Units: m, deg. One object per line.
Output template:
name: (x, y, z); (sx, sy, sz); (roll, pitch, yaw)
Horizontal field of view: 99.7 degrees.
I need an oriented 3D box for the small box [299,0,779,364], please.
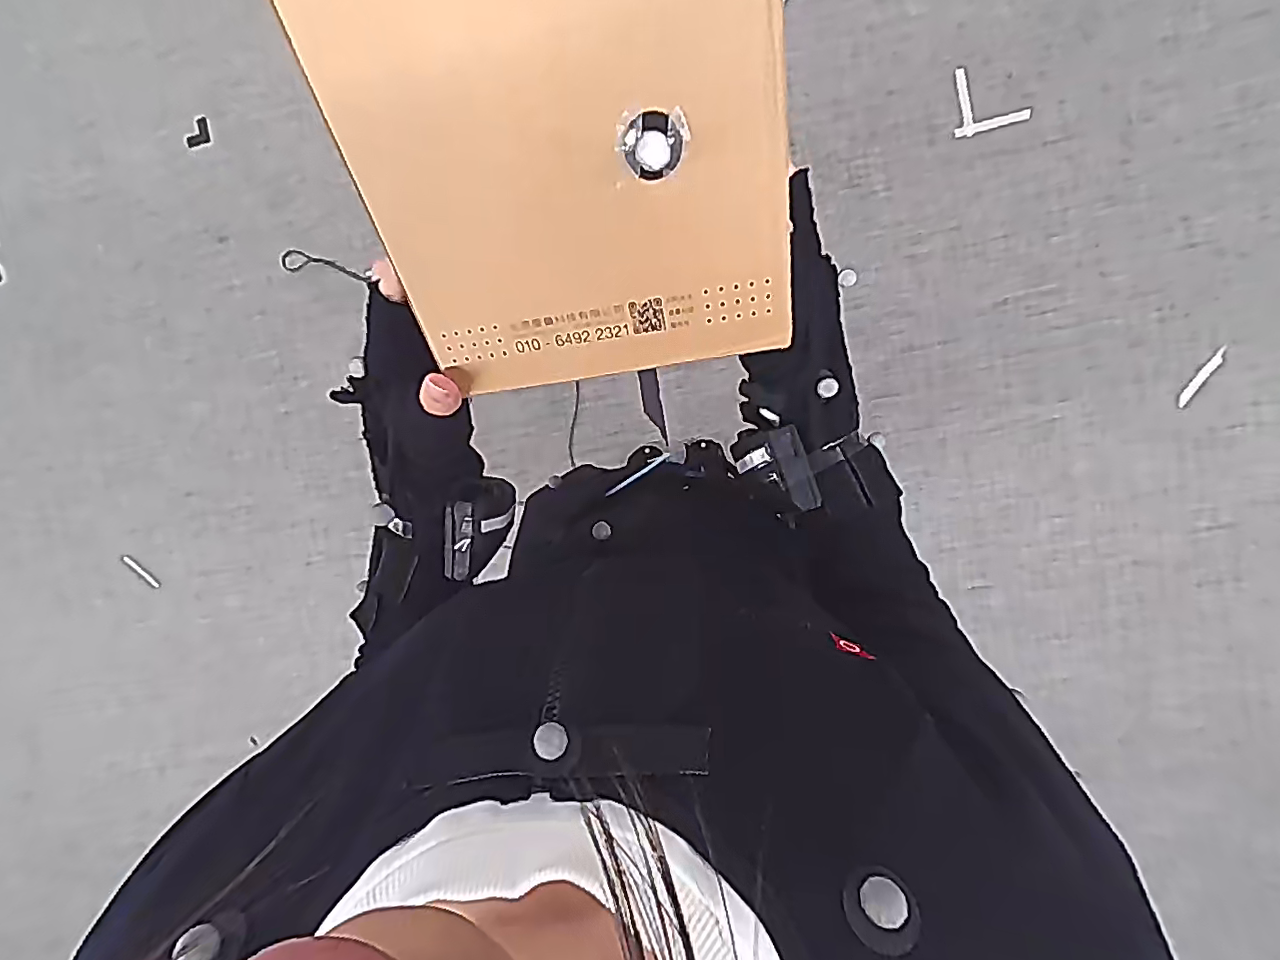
small box: (-0.020, -0.172, 0.289); (0.168, 0.179, 0.176); (-6, 128, 10)
